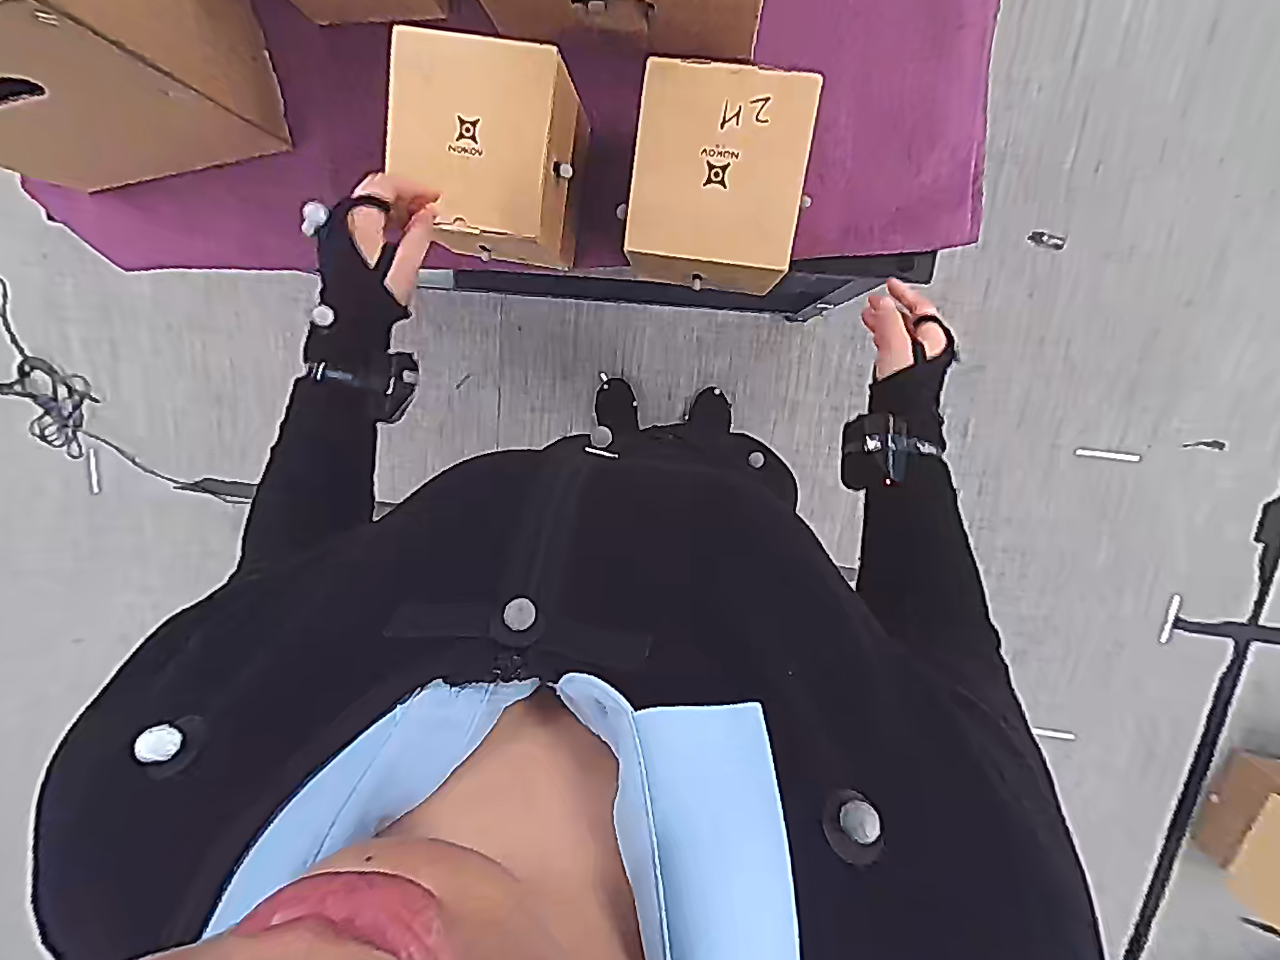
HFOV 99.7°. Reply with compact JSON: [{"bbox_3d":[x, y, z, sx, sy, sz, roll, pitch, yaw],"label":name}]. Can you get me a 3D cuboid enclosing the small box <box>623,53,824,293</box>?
[{"bbox_3d":[0.083,-0.311,0.588,0.168,0.176,0.179,9,101,3],"label":"small box"}]
